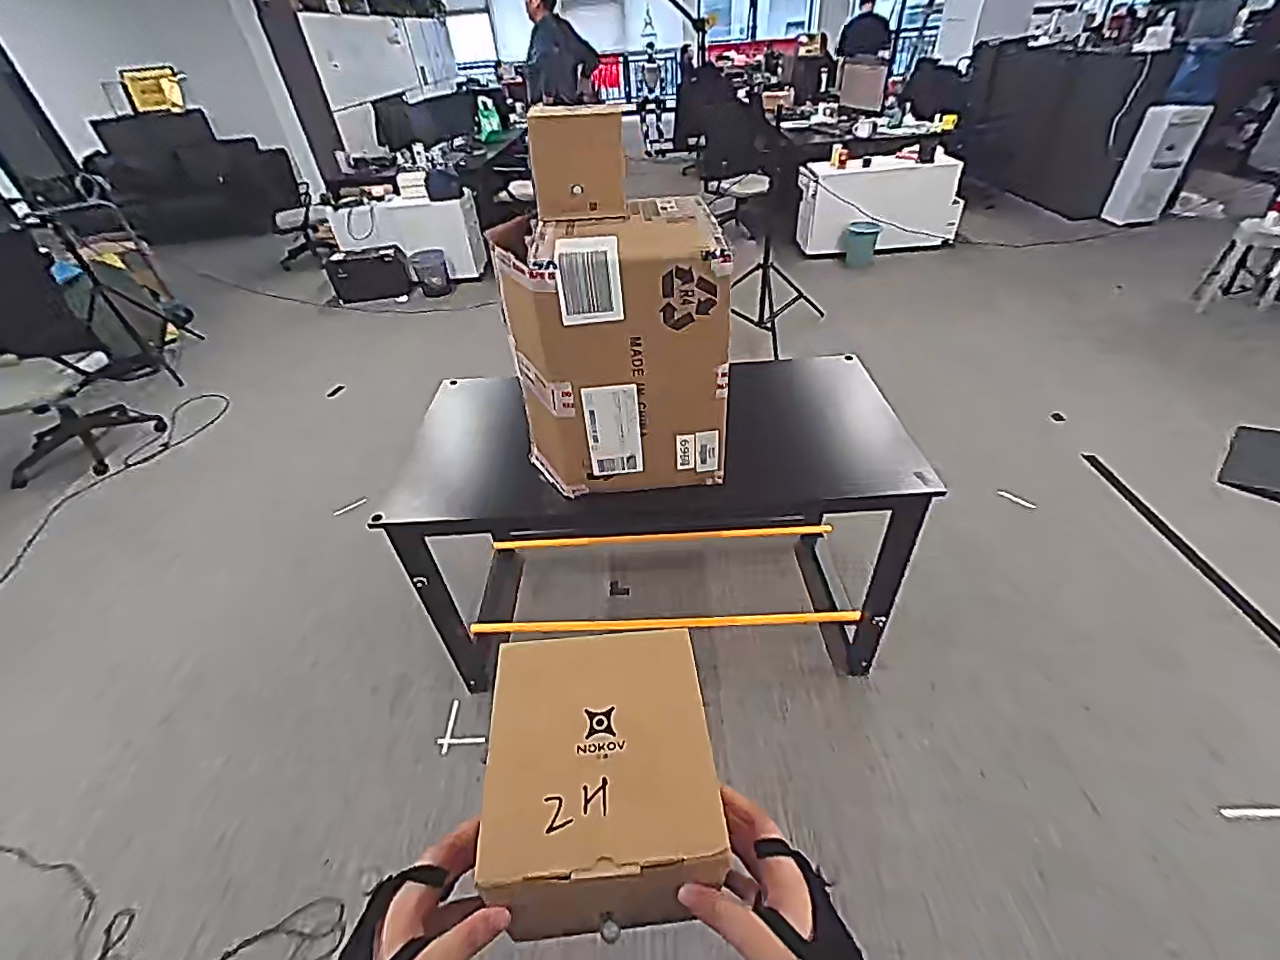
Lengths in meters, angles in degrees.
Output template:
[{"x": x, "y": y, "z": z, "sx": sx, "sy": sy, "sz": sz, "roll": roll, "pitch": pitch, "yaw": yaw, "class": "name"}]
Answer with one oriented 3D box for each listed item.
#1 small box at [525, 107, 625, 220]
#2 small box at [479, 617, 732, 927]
[{"x": -0.119, "y": -0.604, "z": 1.032, "sx": 0.168, "sy": 0.176, "sz": 0.179, "roll": -5, "pitch": 38, "yaw": -3, "class": "small box"}, {"x": -0.028, "y": 0.242, "z": 0.459, "sx": 0.168, "sy": 0.176, "sz": 0.179, "roll": -4, "pitch": 41, "yaw": -4, "class": "small box"}]
